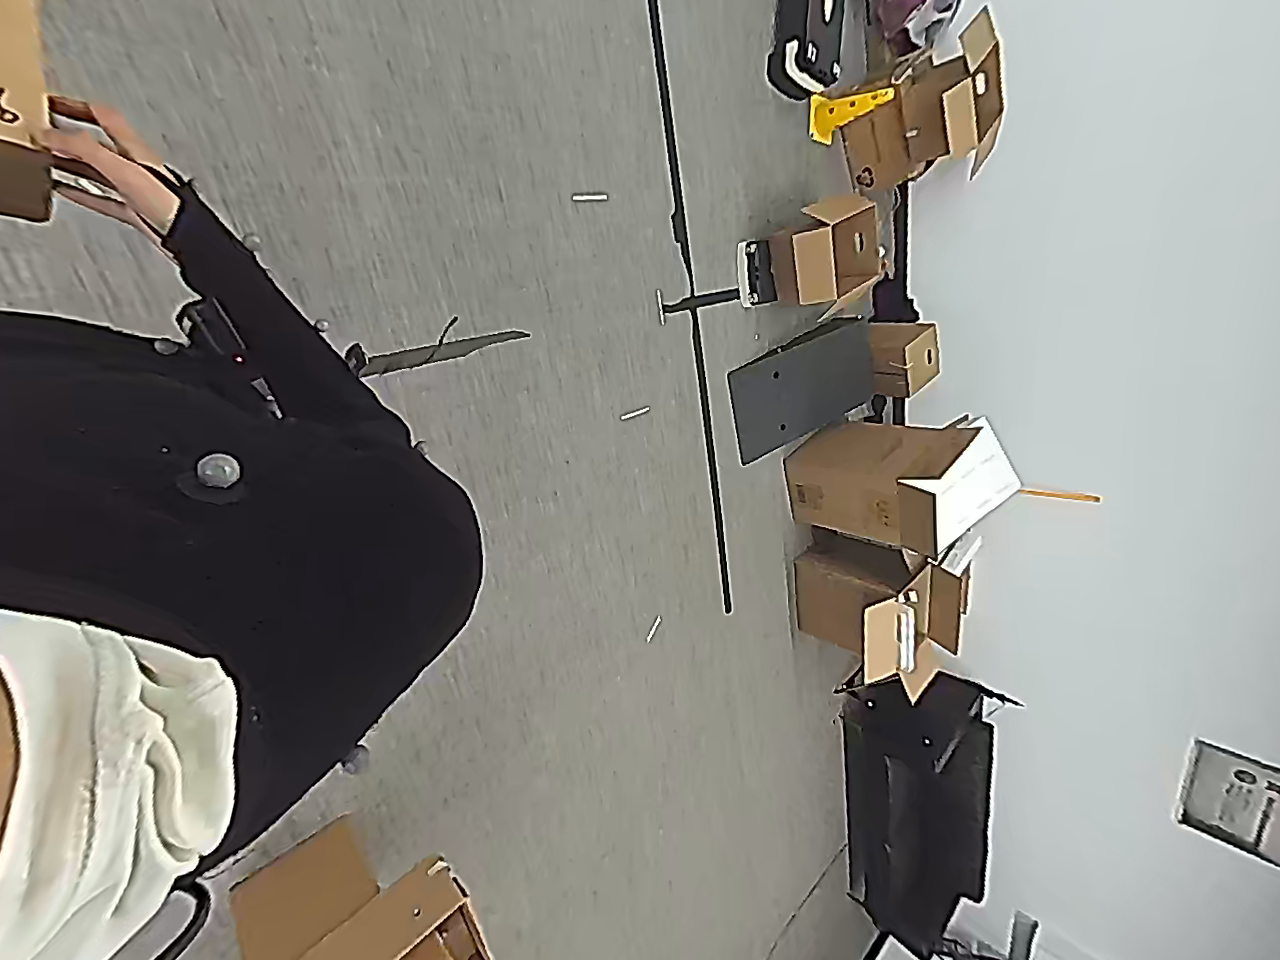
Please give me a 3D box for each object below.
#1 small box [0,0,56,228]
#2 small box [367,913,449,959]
[{"bbox_3d":[-0.576,-0.328,0.414,0.168,0.176,0.179,-4,91,-48],"label":"small box"},{"bbox_3d":[-0.580,1.269,1.367,0.179,0.176,0.168,-32,121,-36],"label":"small box"}]
